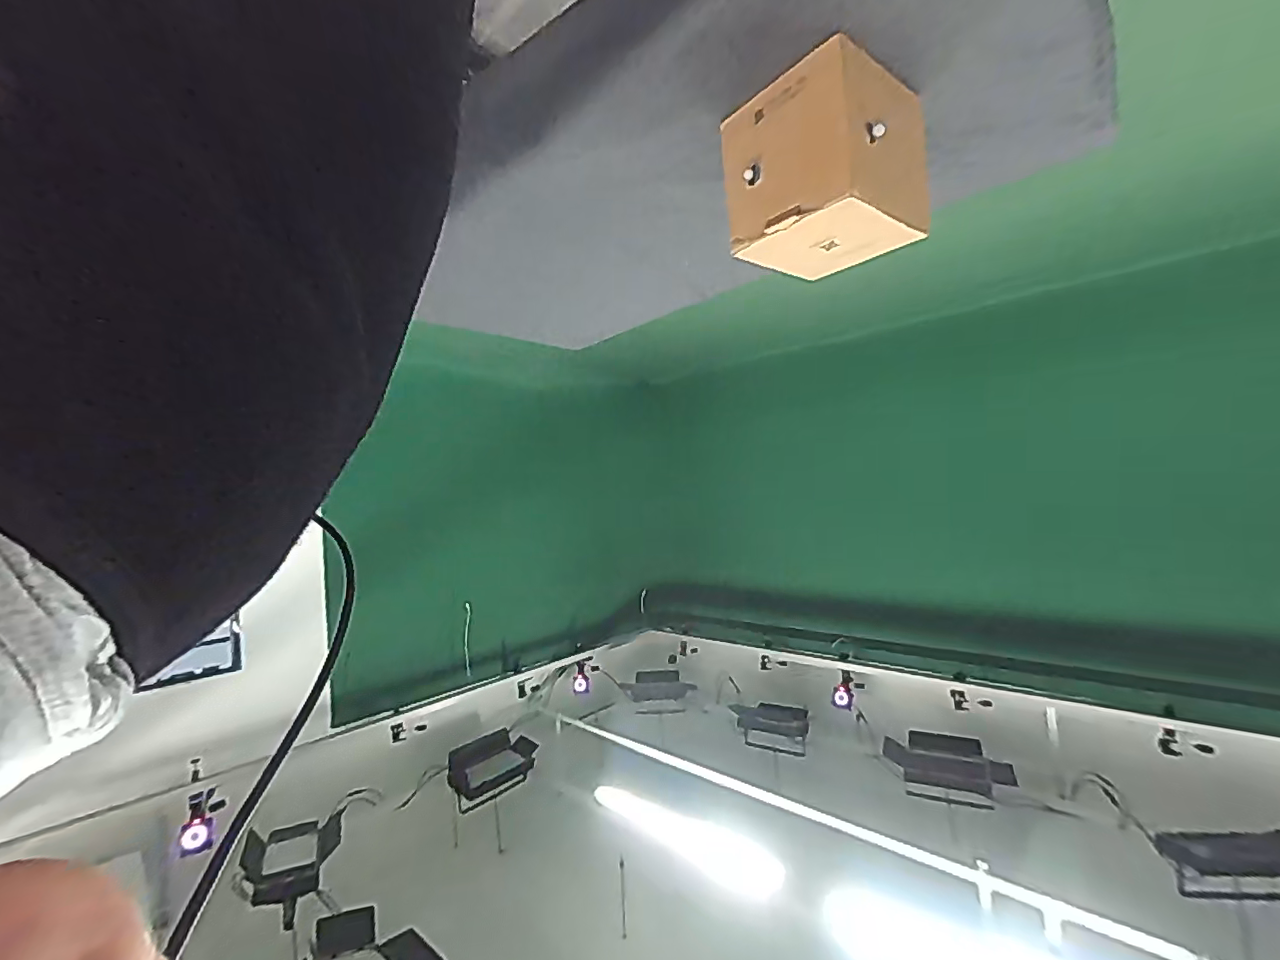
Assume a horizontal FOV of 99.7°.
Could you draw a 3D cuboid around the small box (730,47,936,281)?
[{"bbox_3d":[0.225,-0.362,0.647,0.179,0.176,0.168,-6,-179,-37],"label":"small box"}]
